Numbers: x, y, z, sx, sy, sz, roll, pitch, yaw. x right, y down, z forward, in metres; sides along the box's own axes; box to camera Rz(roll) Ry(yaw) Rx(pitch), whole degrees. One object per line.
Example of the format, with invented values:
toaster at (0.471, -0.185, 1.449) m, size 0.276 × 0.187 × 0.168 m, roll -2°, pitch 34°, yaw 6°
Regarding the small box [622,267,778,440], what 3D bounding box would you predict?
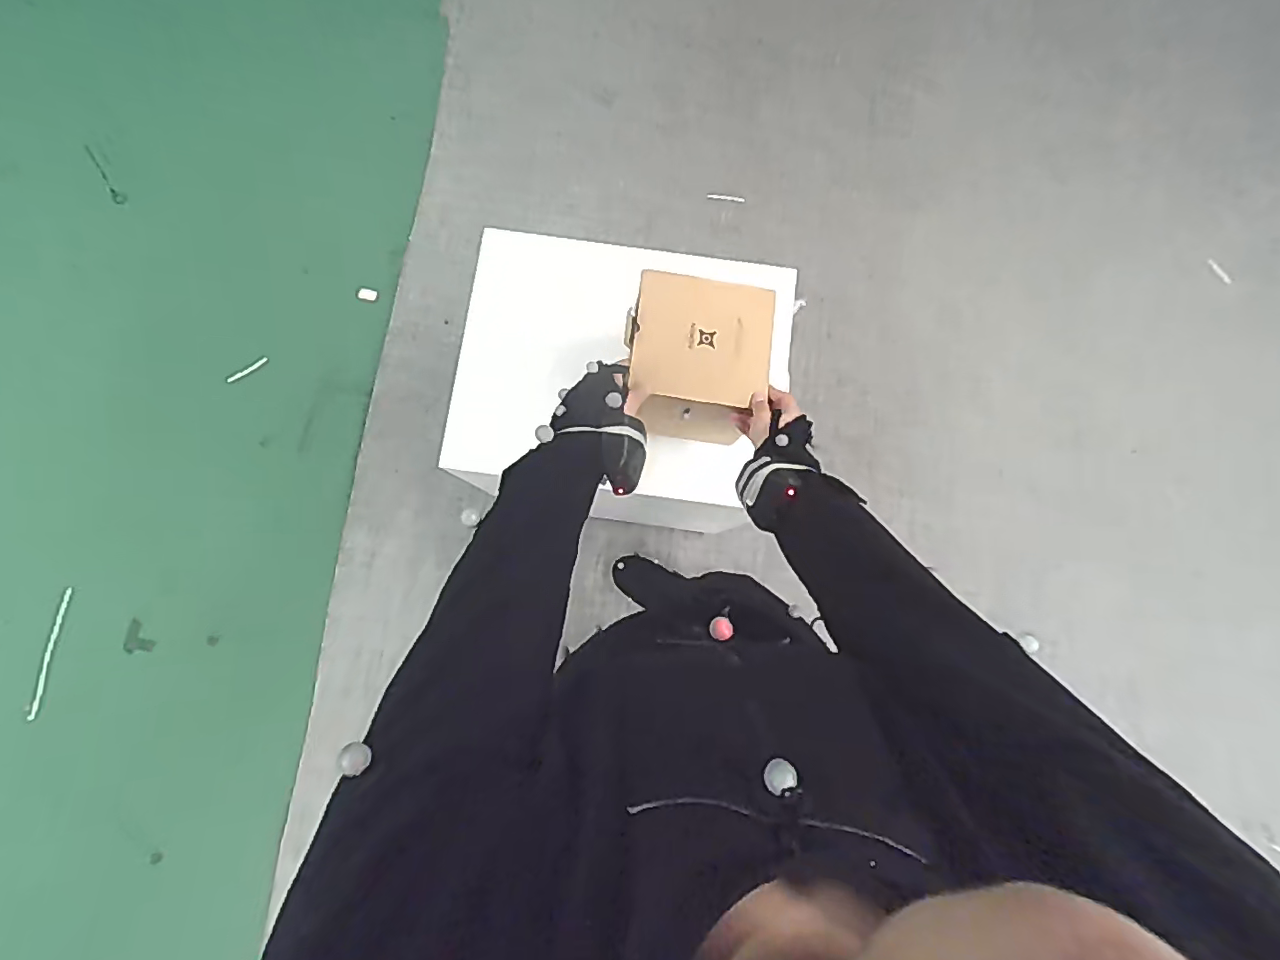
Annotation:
small box at (0.072, -0.160, 0.739) m, size 0.179 × 0.176 × 0.168 m, roll 8°, pitch 79°, yaw -4°
